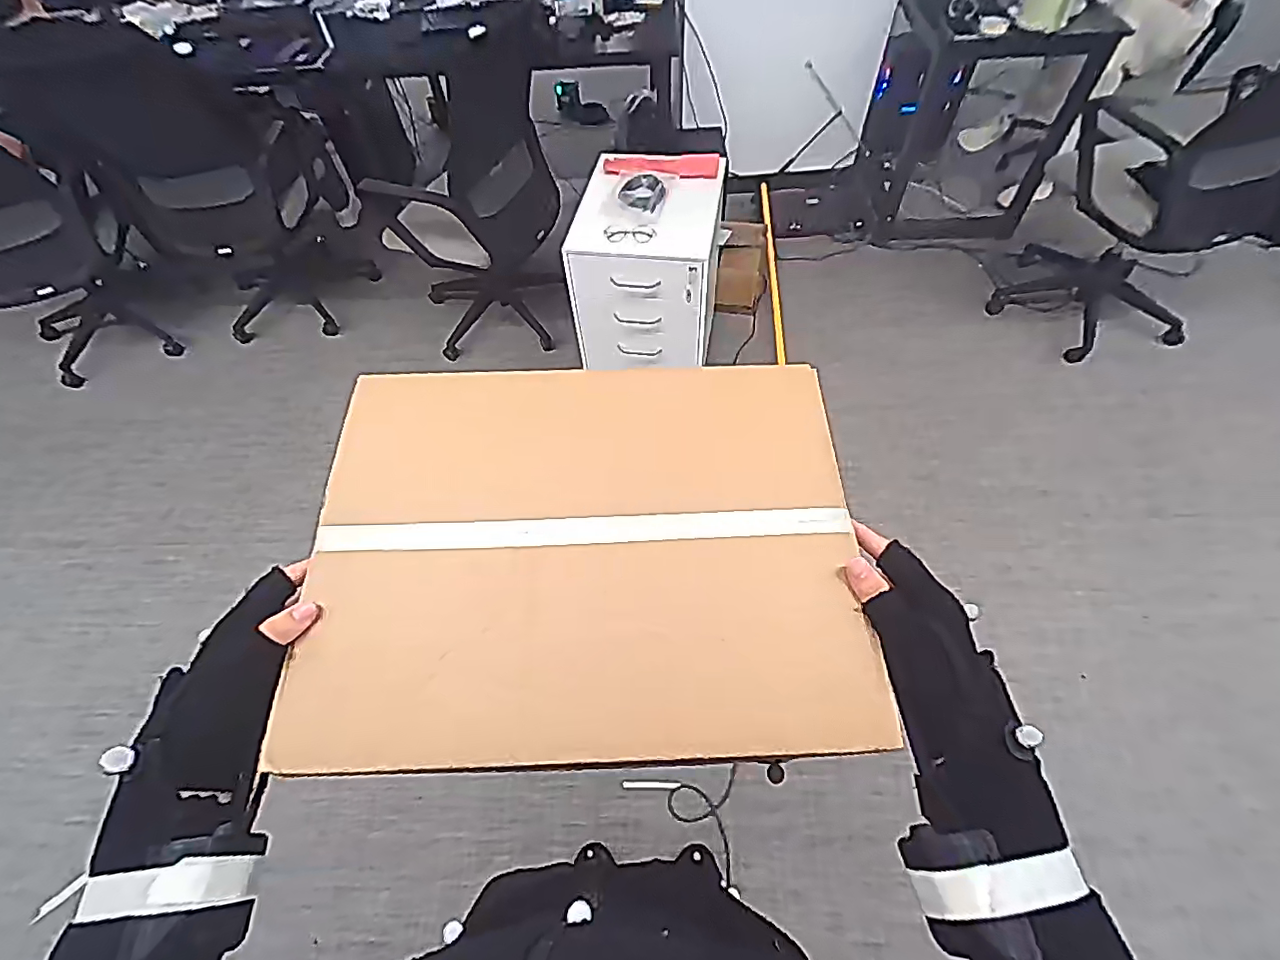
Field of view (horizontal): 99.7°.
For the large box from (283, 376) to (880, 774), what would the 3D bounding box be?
[{"bbox_3d":[-0.041,0.113,0.555,0.408,0.320,0.320,-1,62,-2],"label":"large box"}]
